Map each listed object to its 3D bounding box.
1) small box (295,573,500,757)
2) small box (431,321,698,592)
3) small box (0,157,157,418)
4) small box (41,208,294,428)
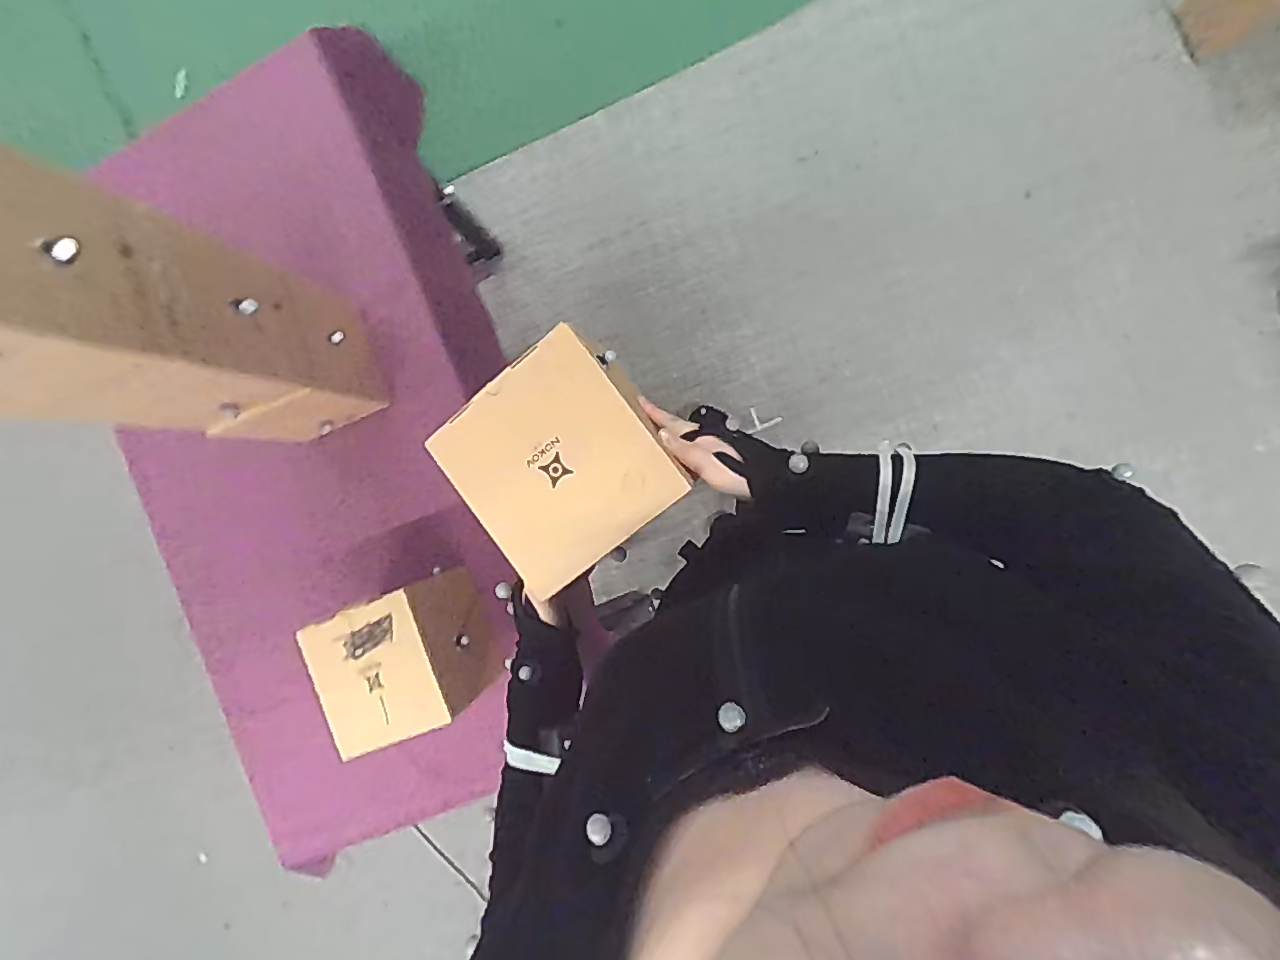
[{"bbox_3d":[-0.323,0.240,0.751,0.168,0.176,0.179,-22,89,9],"label":"small box"},{"bbox_3d":[-0.056,-0.025,0.532,0.168,0.176,0.179,-37,88,11],"label":"small box"},{"bbox_3d":[-0.554,-0.159,0.446,0.179,0.176,0.168,-19,89,9],"label":"small box"},{"bbox_3d":[-0.531,-0.164,0.609,0.179,0.176,0.168,-18,89,8],"label":"small box"}]
